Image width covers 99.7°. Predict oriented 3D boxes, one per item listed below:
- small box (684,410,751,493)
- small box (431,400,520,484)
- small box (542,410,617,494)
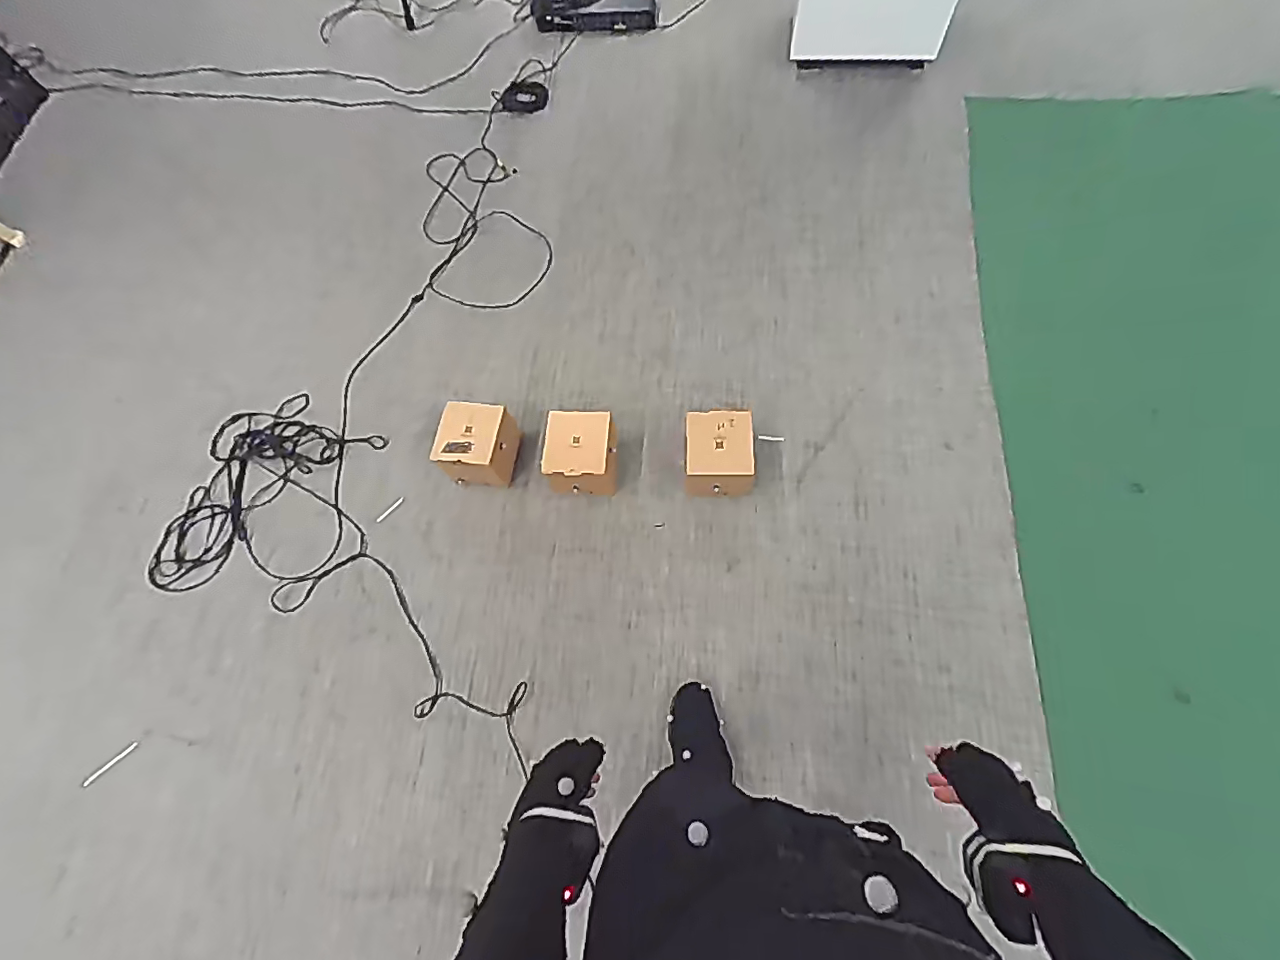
[{"bbox_3d":[0.201,-0.069,1.426,0.168,0.176,0.179,0,70,4],"label":"small box"},{"bbox_3d":[-0.445,-0.099,1.494,0.168,0.176,0.179,6,69,7],"label":"small box"},{"bbox_3d":[-0.157,-0.073,1.461,0.168,0.176,0.179,1,70,6],"label":"small box"}]
